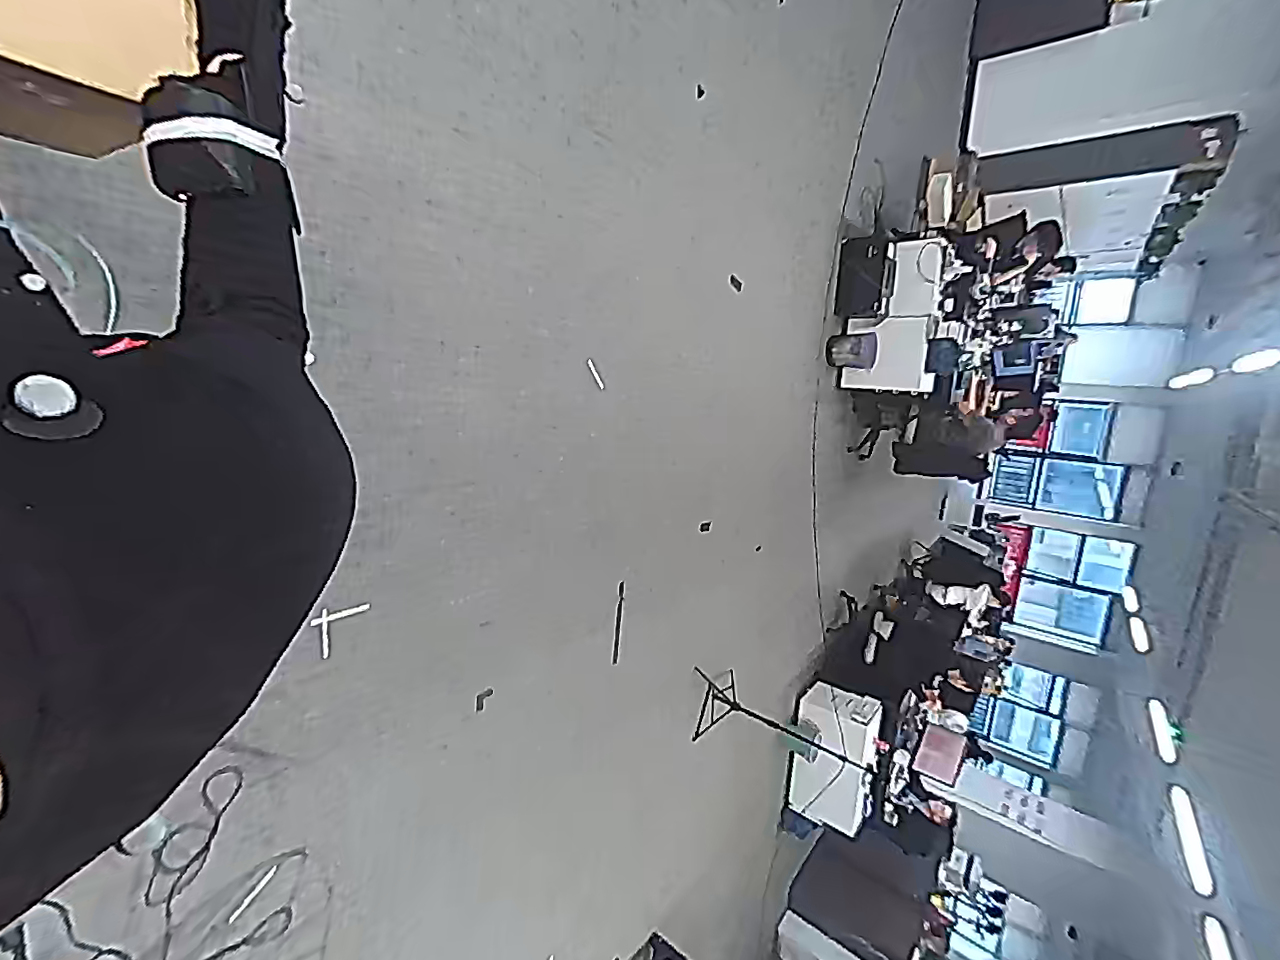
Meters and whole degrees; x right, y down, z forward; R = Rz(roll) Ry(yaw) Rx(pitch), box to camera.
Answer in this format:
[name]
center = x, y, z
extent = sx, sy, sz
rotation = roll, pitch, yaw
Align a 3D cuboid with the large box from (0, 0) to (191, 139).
[large box]
center = -0.547, -0.434, 0.284
extent = 0.408, 0.320, 0.320
rotation = -11, 114, -54
